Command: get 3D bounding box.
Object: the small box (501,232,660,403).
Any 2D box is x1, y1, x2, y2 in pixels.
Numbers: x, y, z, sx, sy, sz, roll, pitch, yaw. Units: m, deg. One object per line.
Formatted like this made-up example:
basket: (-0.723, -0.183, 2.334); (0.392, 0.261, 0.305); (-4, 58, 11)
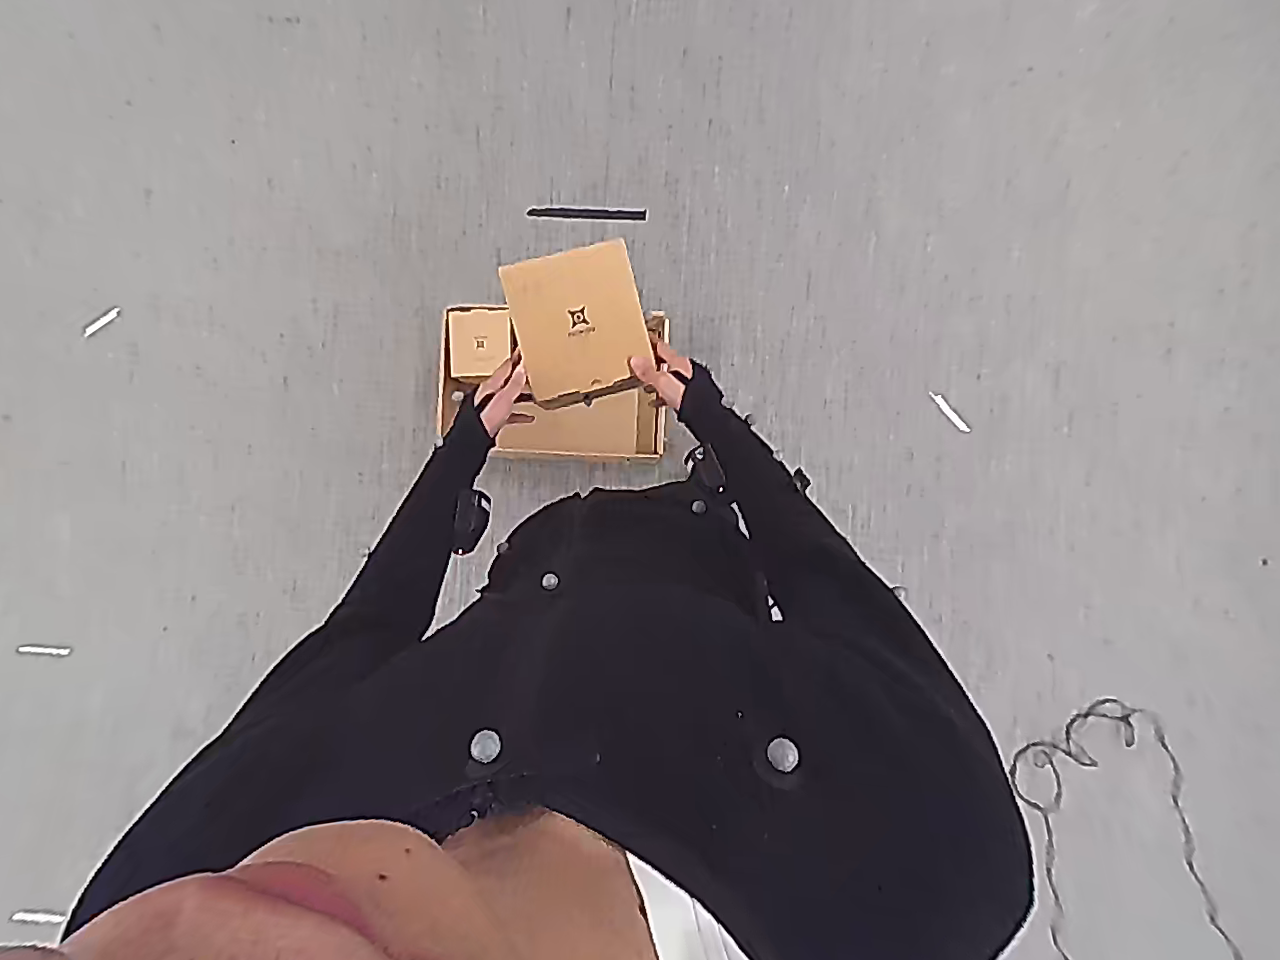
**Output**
small box: (-0.081, -0.212, 0.753); (0.168, 0.176, 0.179); (-15, 97, -4)
